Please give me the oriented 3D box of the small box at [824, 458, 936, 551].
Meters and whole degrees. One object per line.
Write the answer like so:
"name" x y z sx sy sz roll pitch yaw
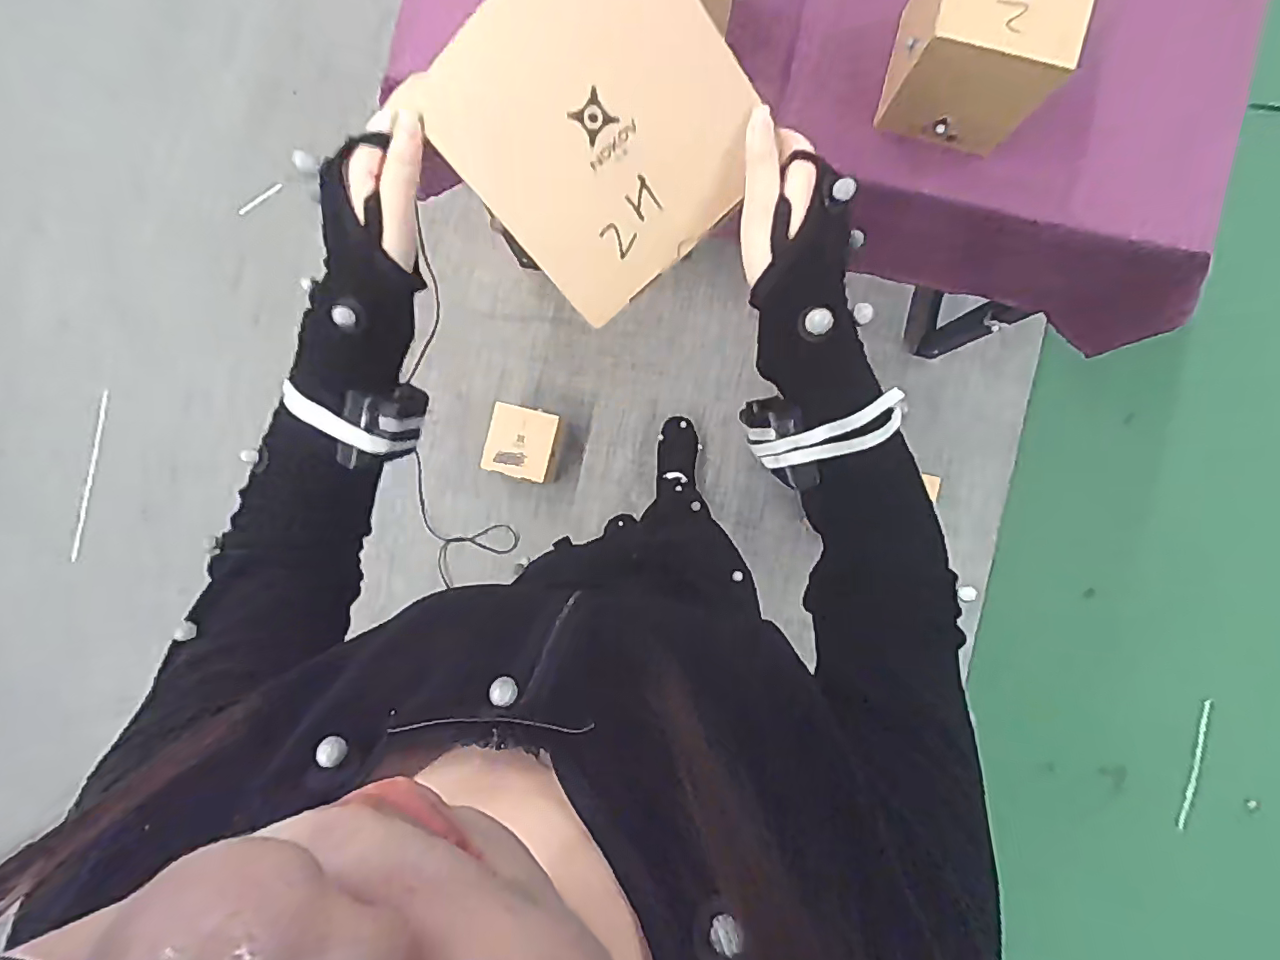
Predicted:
"small box" 0.549 0.053 1.263 0.168 0.176 0.179 13 90 -1

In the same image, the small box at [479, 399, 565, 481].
"small box" -0.304 -0.100 1.429 0.168 0.176 0.179 14 89 0

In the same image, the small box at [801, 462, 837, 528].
"small box" 0.541 0.051 1.426 0.179 0.176 0.168 11 91 0
